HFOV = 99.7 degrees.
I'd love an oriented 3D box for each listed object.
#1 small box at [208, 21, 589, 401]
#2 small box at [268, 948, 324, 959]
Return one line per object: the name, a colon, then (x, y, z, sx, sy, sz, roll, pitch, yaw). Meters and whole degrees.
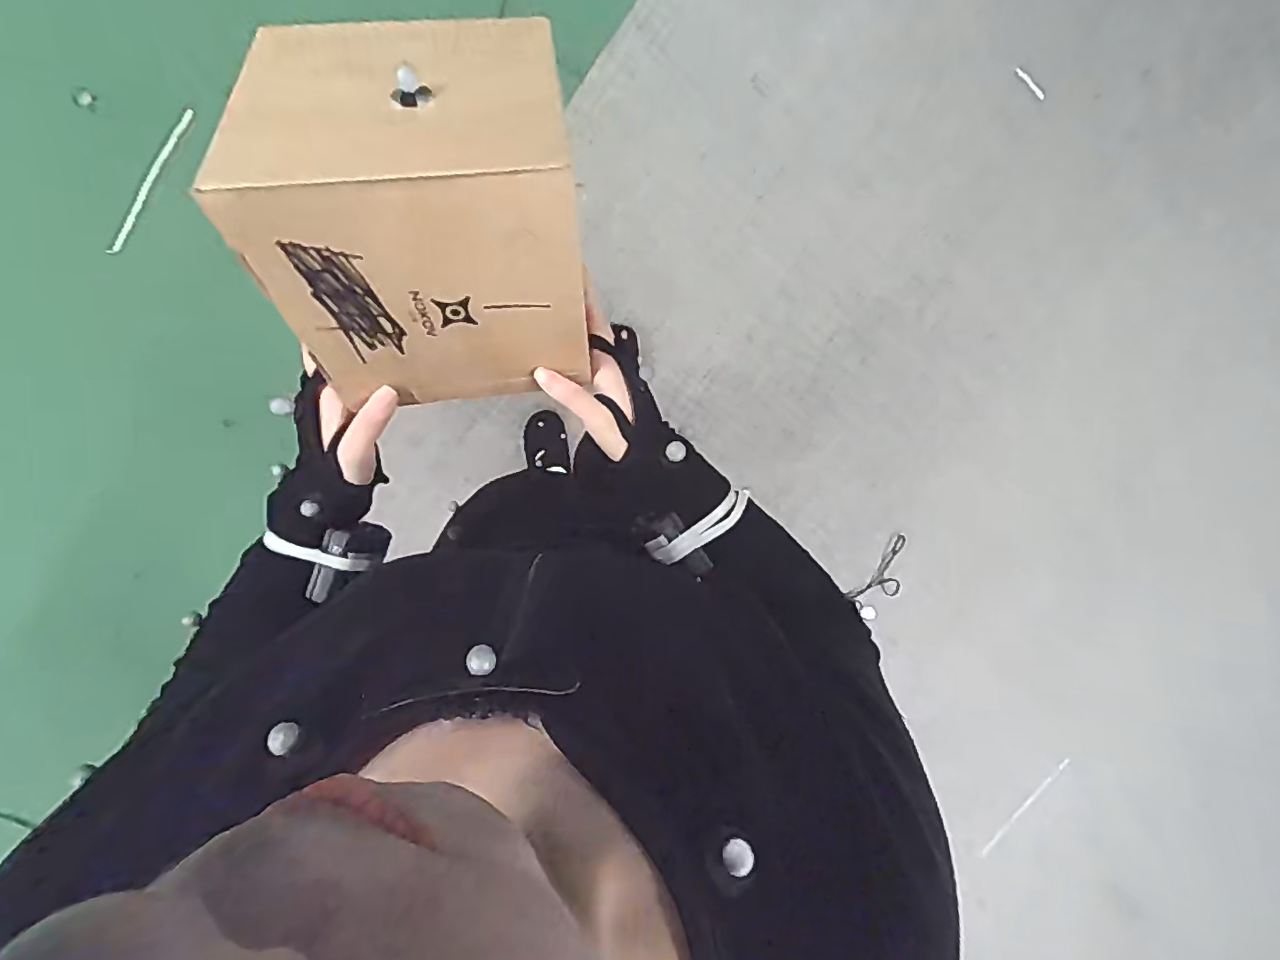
small box: (-0.132, -0.177, 0.367, 0.179, 0.168, 0.176, -7, 60, -6)
small box: (-0.554, 0.880, 0.830, 0.179, 0.176, 0.168, 38, 98, -13)
